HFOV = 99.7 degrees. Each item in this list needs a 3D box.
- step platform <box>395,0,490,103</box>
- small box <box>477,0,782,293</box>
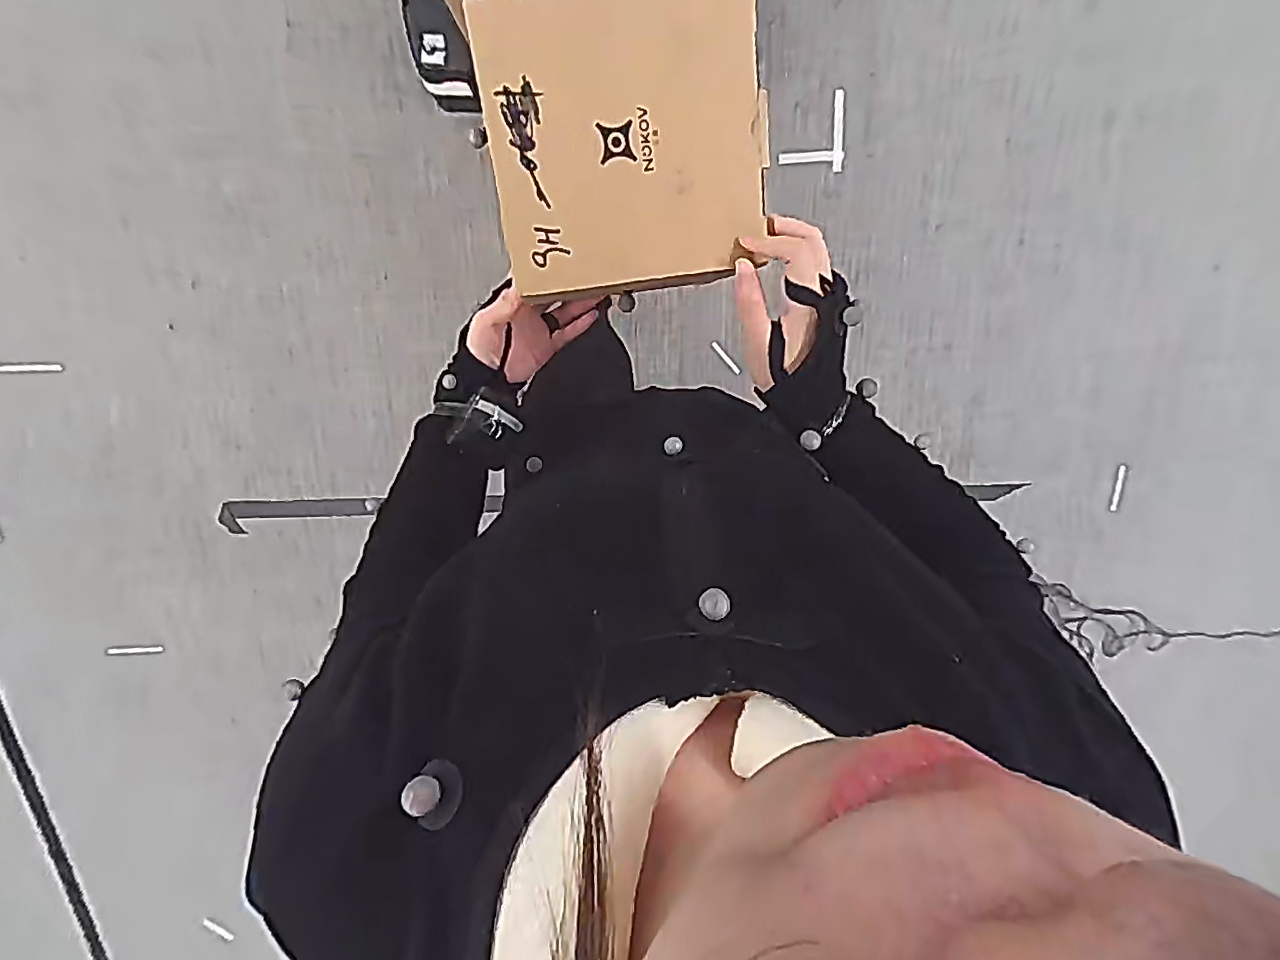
[{"bbox_3d":[-0.142,-0.951,1.122,0.684,0.204,0.286,4,105,-3],"label":"step platform"},{"bbox_3d":[-0.011,-0.238,0.403,0.179,0.176,0.168,-9,106,-6],"label":"small box"}]
